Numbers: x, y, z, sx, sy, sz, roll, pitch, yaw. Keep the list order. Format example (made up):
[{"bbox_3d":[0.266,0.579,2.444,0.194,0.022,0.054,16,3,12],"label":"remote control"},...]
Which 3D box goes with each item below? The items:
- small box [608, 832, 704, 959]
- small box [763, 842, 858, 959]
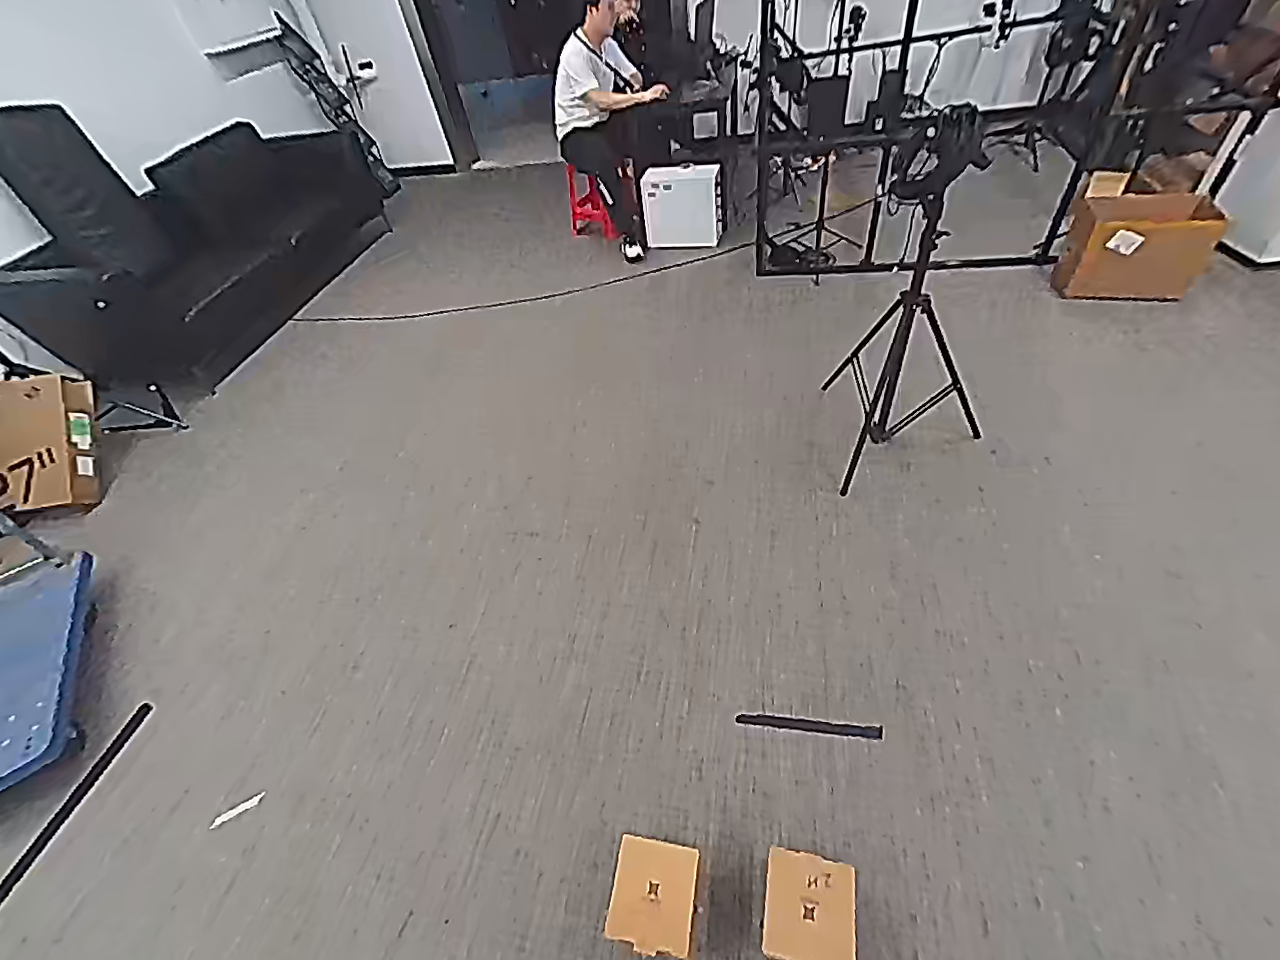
[{"bbox_3d":[0.043,0.870,1.132,0.168,0.176,0.179,3,48,13],"label":"small box"},{"bbox_3d":[0.338,0.860,1.081,0.168,0.176,0.179,5,48,15],"label":"small box"}]
